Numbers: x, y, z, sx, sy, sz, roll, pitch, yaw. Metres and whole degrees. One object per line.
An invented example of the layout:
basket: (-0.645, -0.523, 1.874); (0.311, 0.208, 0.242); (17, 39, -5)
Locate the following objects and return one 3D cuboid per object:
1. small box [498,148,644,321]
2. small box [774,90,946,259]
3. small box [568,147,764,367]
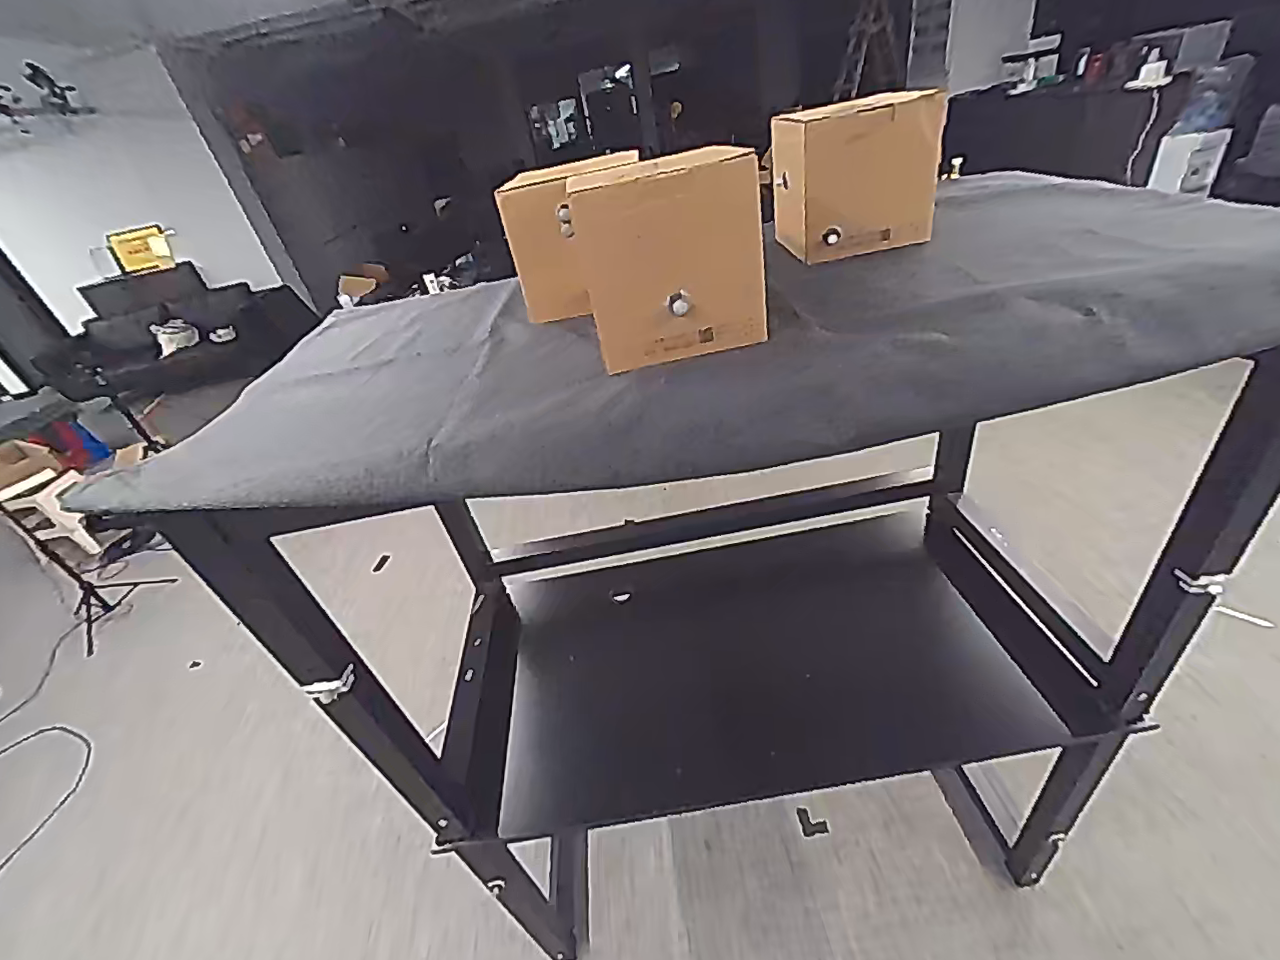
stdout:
small box: (-0.070, -0.335, 0.741); (0.179, 0.176, 0.168); (-8, 35, 6)
small box: (0.288, -0.415, 0.743); (0.168, 0.176, 0.179); (-9, 34, 4)
small box: (0.025, -0.235, 0.566); (0.168, 0.176, 0.179); (-12, 34, 1)
